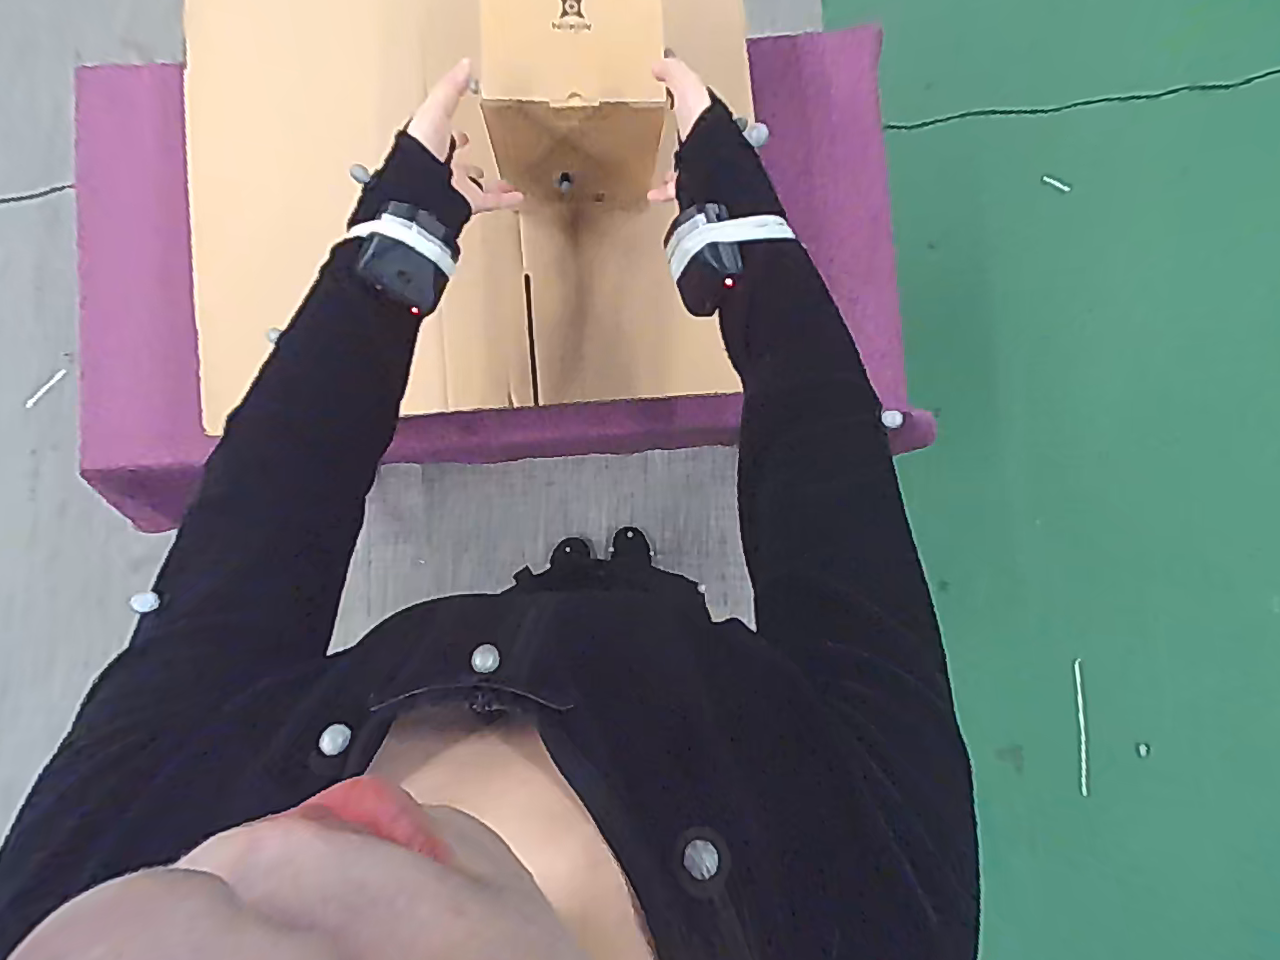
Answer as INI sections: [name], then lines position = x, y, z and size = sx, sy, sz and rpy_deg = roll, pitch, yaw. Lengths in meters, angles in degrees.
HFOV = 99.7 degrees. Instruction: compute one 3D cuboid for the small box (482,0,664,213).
[small box]
position = -0.068, -0.413, 0.571
size = 0.168, 0.176, 0.179
rpy_deg = -2, 87, -5
